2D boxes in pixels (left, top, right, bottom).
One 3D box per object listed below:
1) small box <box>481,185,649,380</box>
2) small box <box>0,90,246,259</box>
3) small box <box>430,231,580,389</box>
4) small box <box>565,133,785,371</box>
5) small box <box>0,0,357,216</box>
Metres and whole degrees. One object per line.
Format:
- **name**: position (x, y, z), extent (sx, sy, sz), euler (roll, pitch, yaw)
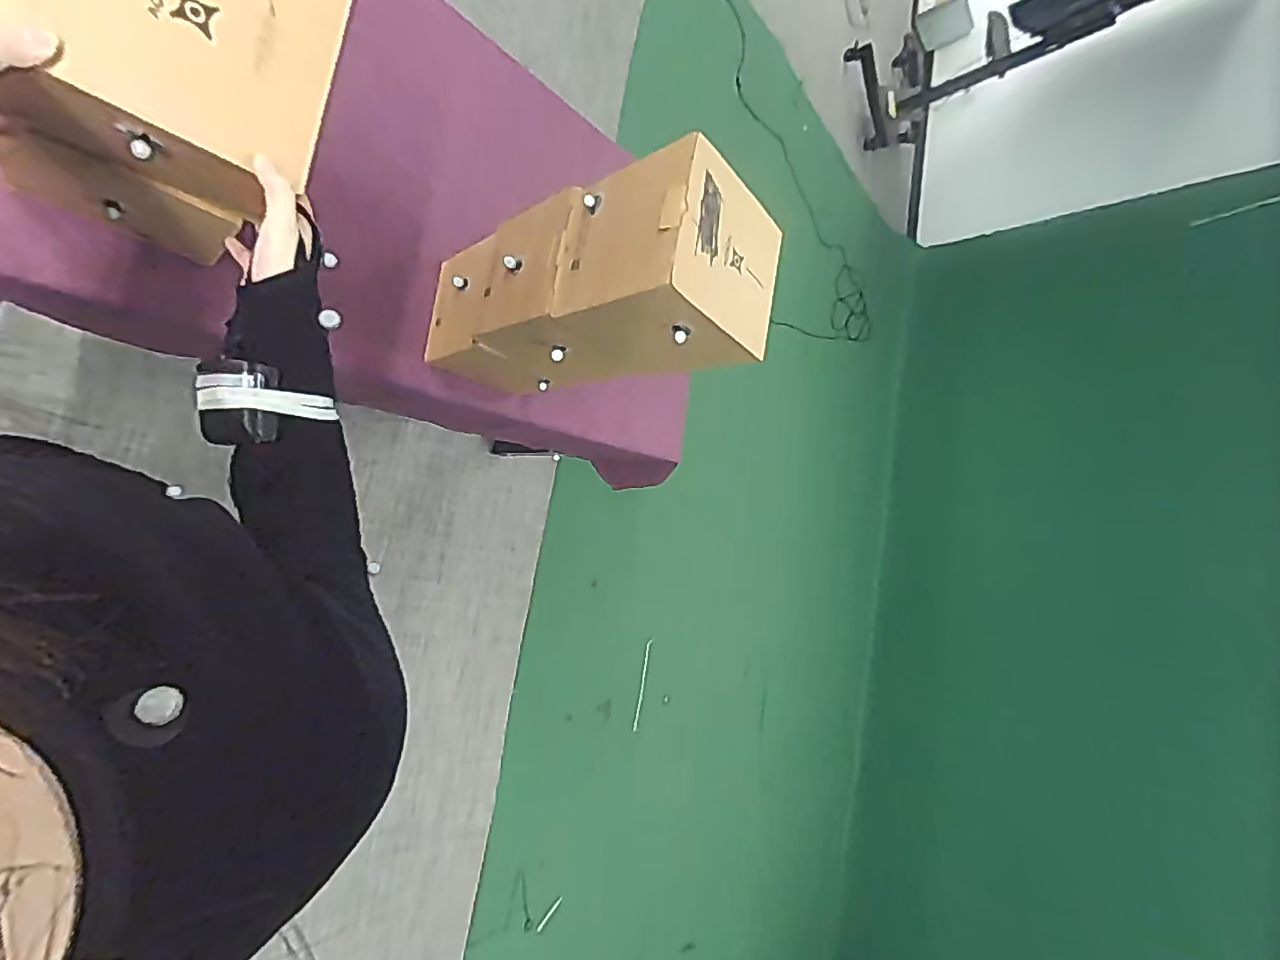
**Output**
- **small box**: position (-0.085, -0.242, 0.719), extent (0.179, 0.176, 0.168), euler (20, 78, -45)
- **small box**: position (-0.483, -0.349, 0.534), extent (0.168, 0.176, 0.179), euler (17, 80, -46)
- **small box**: position (-0.199, -0.246, 0.838), extent (0.179, 0.176, 0.168), euler (15, 81, -46)
- **small box**: position (0.040, -0.233, 0.612), extent (0.179, 0.176, 0.168), euler (20, 77, -46)
- **small box**: position (-0.355, -0.328, 0.417), extent (0.179, 0.176, 0.168), euler (14, 92, -46)
